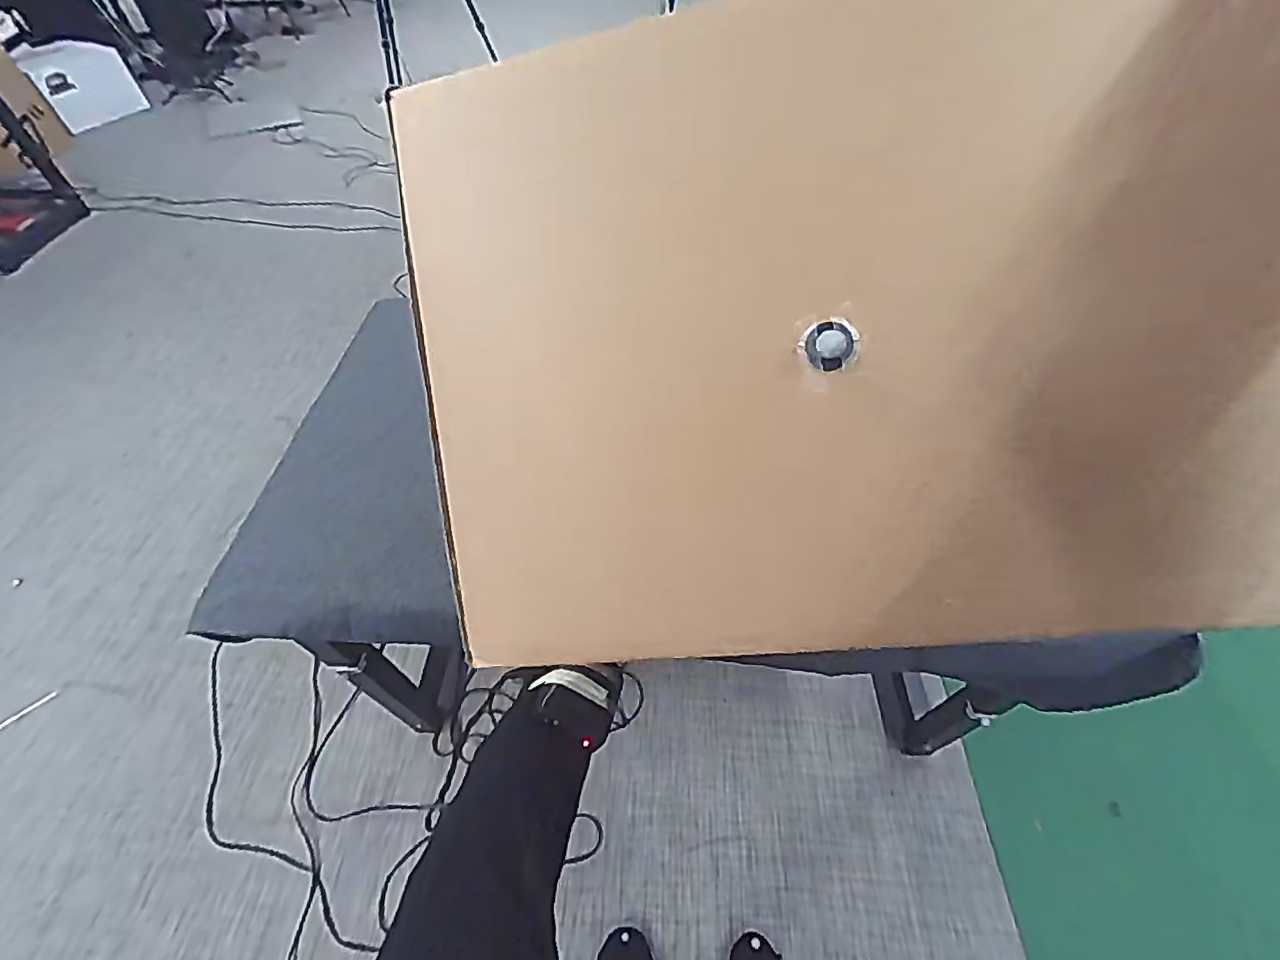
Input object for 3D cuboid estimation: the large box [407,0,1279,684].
[{"bbox_3d":[0.116,-0.071,0.406,0.408,0.320,0.320,-8,92,10],"label":"large box"}]
